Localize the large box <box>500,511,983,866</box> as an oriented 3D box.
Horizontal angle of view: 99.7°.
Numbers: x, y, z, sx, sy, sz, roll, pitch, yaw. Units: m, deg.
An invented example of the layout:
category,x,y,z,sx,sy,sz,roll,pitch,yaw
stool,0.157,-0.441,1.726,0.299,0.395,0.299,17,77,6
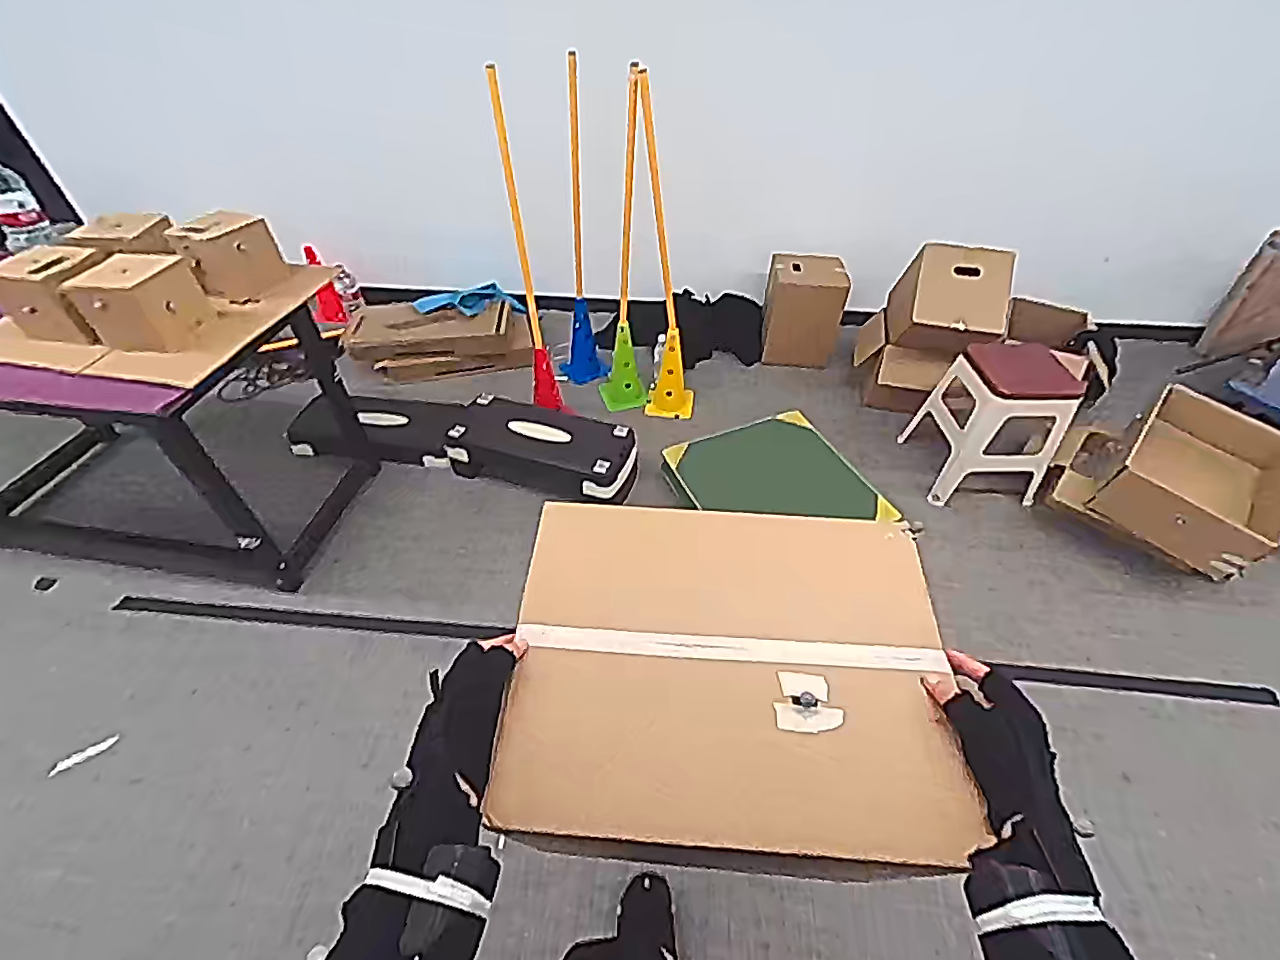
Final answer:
category,x,y,z,sx,sy,sz,roll,pitch,yaw
large box,0.087,0.256,0.647,0.408,0.320,0.320,3,53,3
